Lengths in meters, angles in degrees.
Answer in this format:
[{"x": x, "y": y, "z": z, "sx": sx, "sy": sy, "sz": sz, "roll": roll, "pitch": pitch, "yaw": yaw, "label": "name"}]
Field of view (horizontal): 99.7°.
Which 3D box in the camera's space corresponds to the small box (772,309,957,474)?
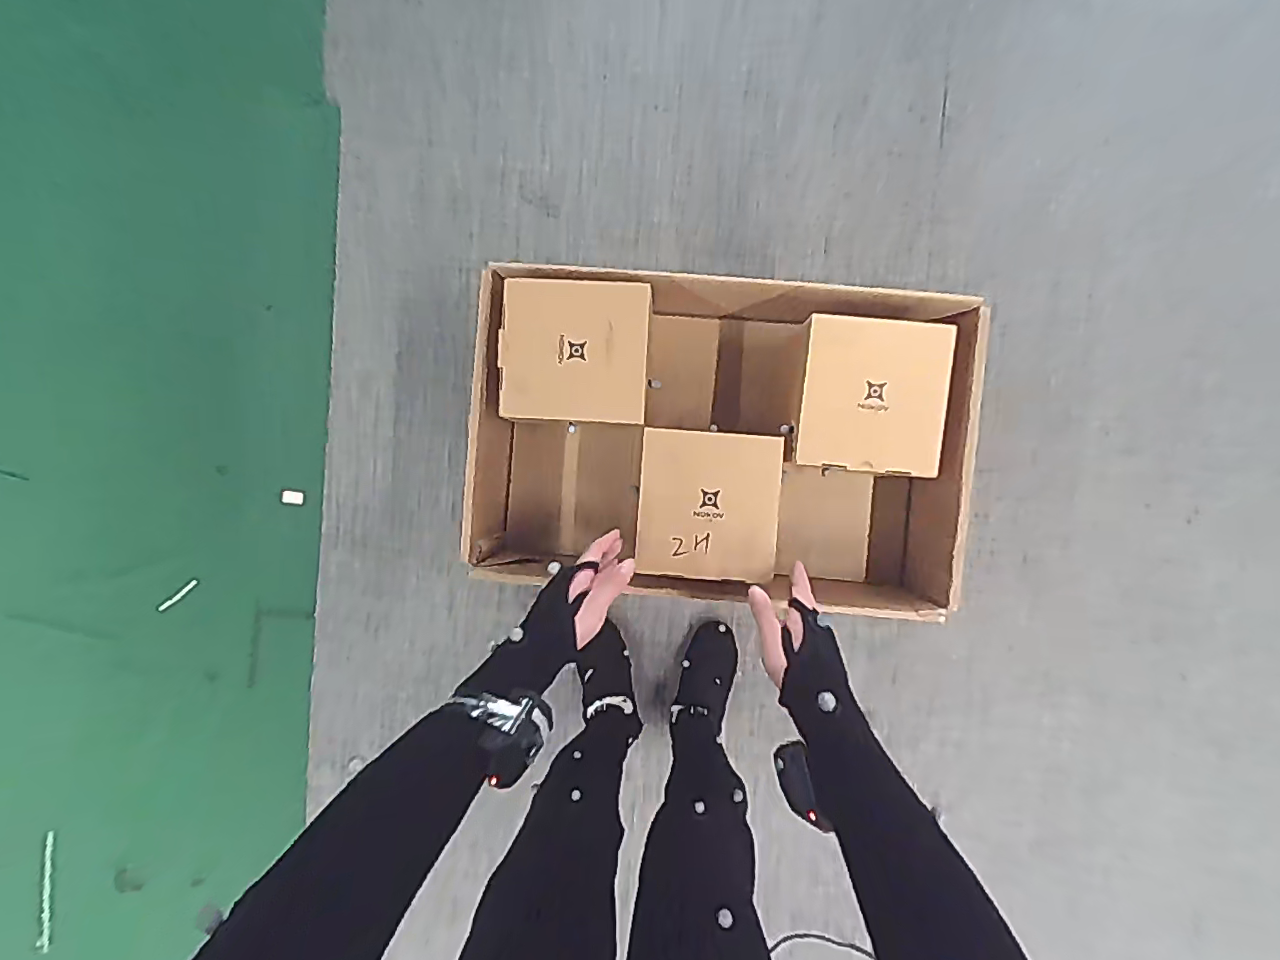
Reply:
[{"x": 0.274, "y": -0.106, "z": 0.701, "sx": 0.168, "sy": 0.176, "sz": 0.179, "roll": 6, "pitch": 93, "yaw": 3, "label": "small box"}]
